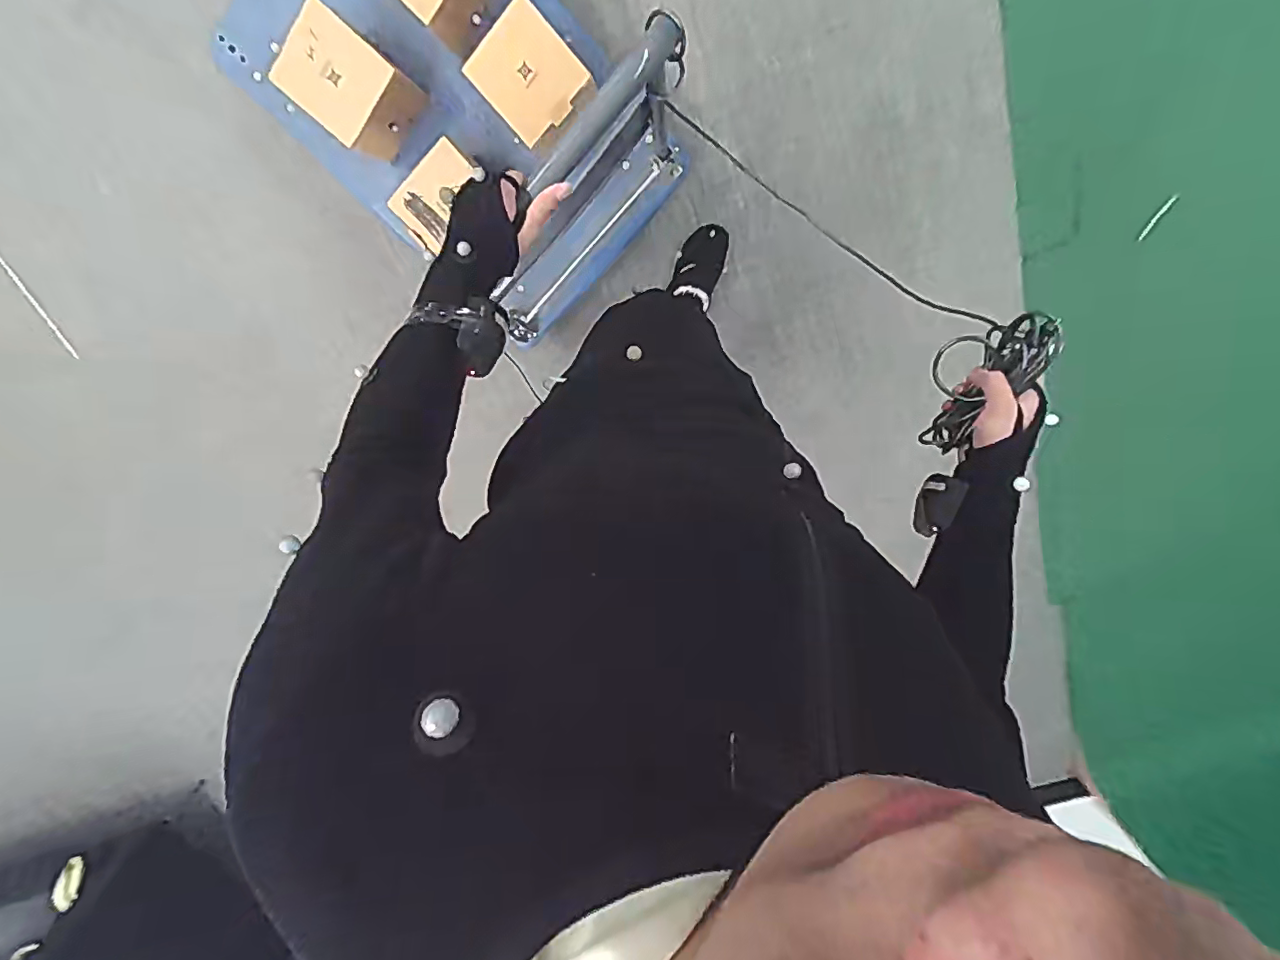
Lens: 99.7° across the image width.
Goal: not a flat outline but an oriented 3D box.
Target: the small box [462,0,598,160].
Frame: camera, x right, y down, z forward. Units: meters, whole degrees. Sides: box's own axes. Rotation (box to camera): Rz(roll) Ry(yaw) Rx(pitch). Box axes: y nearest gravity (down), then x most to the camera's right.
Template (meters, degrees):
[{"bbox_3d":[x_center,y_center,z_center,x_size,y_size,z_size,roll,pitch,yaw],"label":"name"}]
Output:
[{"bbox_3d":[-0.201,-0.754,1.038,0.168,0.176,0.179,-42,105,16],"label":"small box"}]

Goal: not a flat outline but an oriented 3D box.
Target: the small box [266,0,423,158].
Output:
[{"bbox_3d":[-0.555,-0.756,1.043,0.179,0.176,0.168,39,106,-13],"label":"small box"}]

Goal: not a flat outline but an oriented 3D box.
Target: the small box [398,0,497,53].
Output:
[{"bbox_3d":[-0.379,-0.930,0.973,0.179,0.176,0.168,41,107,-14],"label":"small box"}]
